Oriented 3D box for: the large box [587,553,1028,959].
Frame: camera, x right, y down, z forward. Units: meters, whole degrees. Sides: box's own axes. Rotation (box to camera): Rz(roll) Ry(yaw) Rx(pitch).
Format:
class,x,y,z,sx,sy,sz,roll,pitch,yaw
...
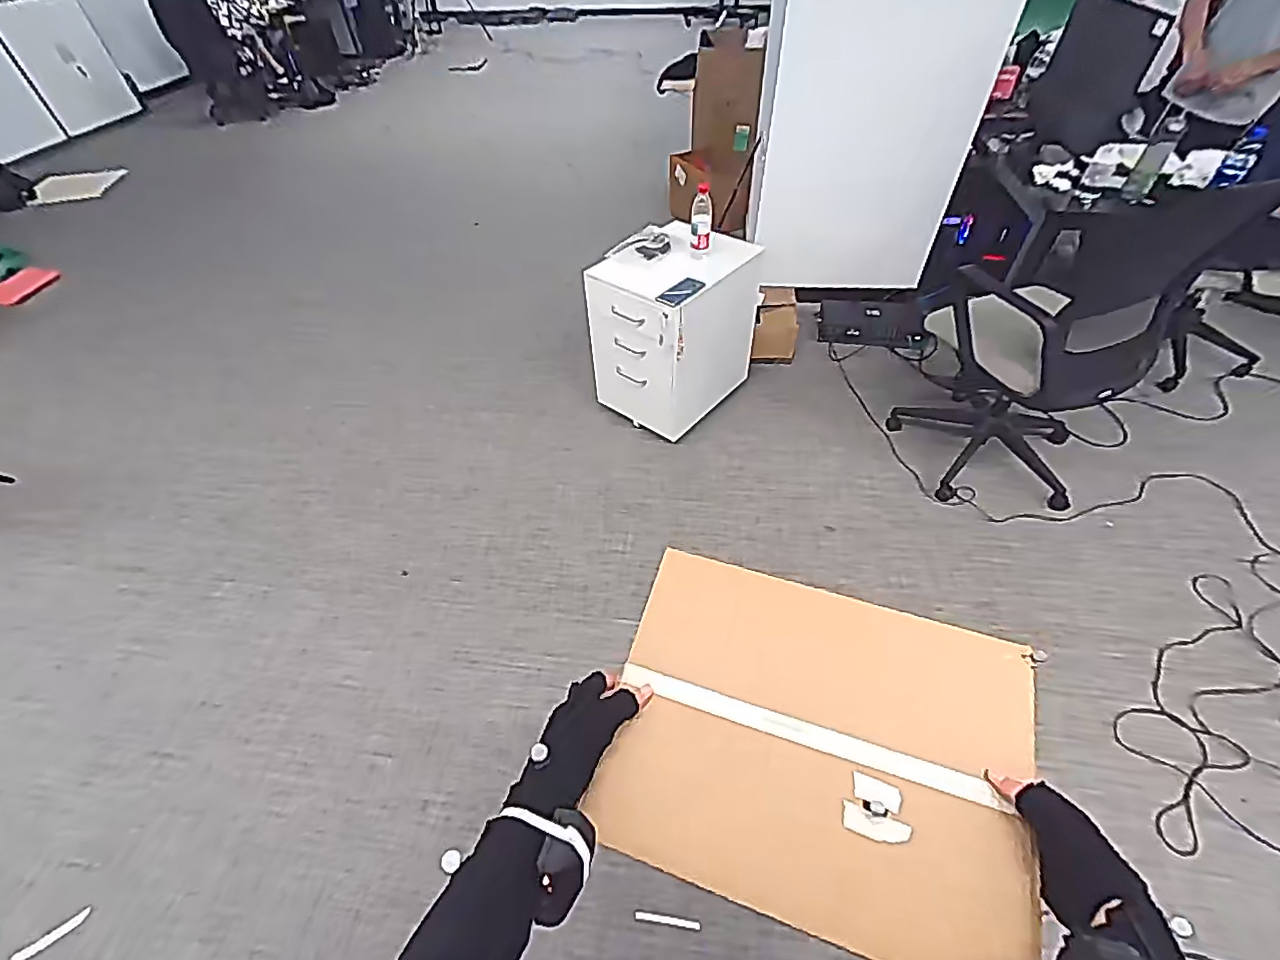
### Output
class,x,y,z,sx,sy,sz,roll,pitch,yaw
large box,0.187,0.335,0.686,0.408,0.320,0.320,14,61,13
